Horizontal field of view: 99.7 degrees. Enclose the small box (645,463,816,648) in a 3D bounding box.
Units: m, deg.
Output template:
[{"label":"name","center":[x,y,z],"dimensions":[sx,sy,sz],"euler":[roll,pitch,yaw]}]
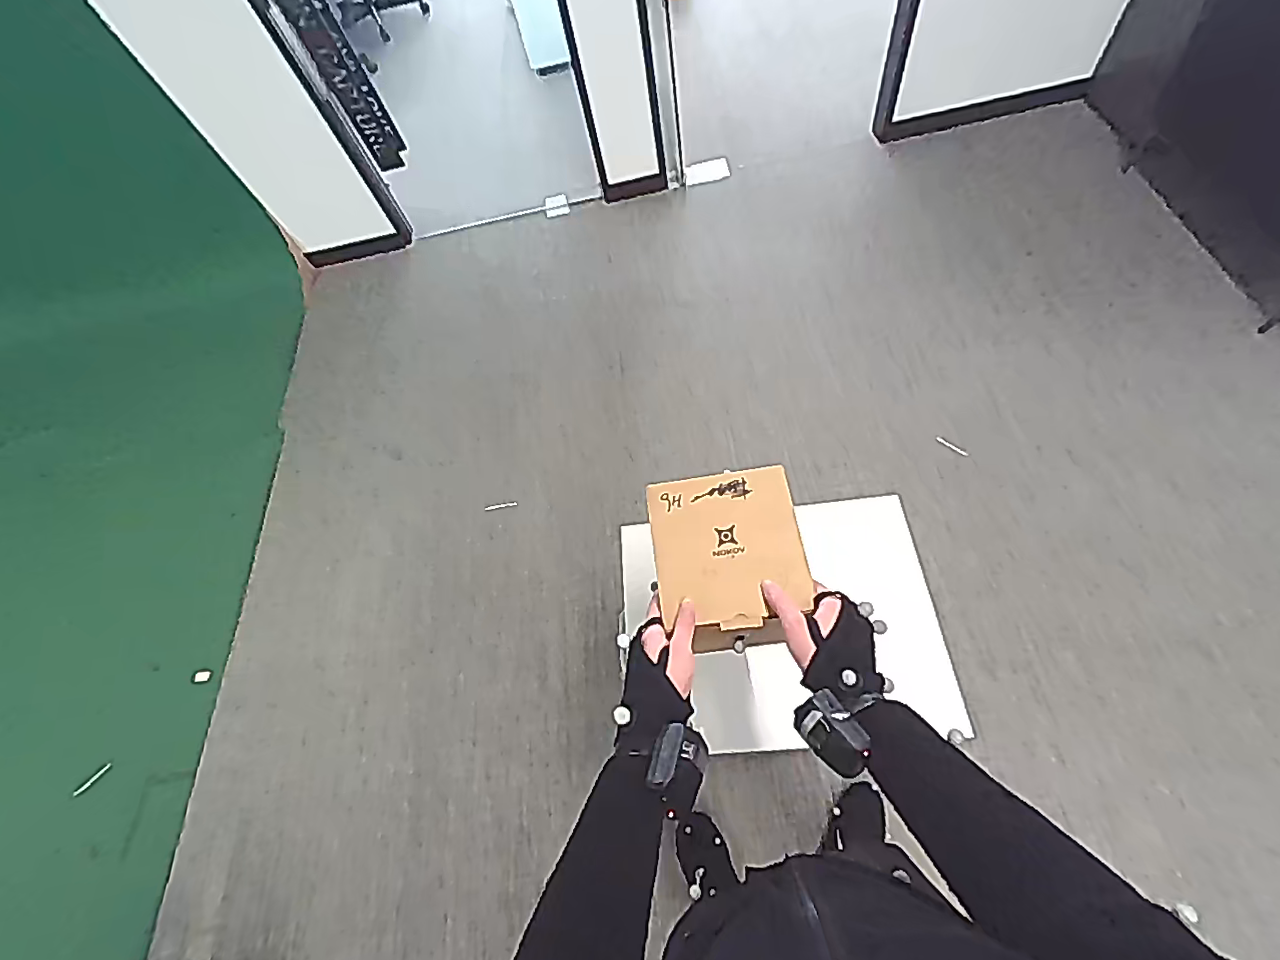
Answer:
[{"label":"small box","center":[0.107,0.105,0.678],"dimensions":[0.168,0.176,0.179],"euler":[-11,62,3]}]
